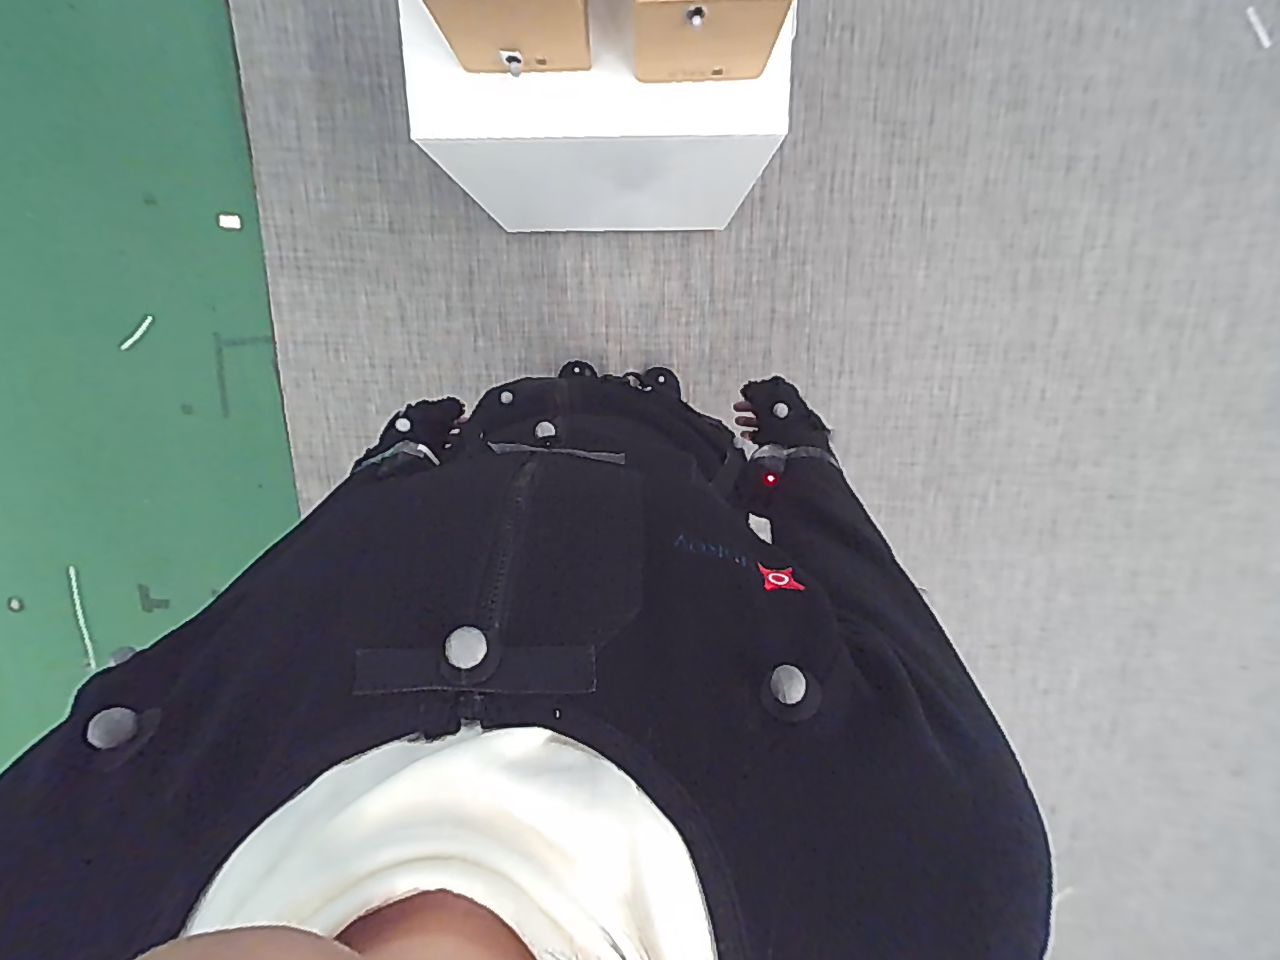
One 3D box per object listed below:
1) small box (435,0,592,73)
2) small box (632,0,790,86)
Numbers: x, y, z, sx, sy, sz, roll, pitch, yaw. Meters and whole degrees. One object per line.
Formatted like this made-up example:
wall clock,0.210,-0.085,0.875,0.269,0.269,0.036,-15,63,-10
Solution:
small box,-0.146,-0.599,0.605,0.168,0.176,0.179,-3,103,1
small box,0.074,-0.593,0.619,0.168,0.176,0.179,-1,101,0
